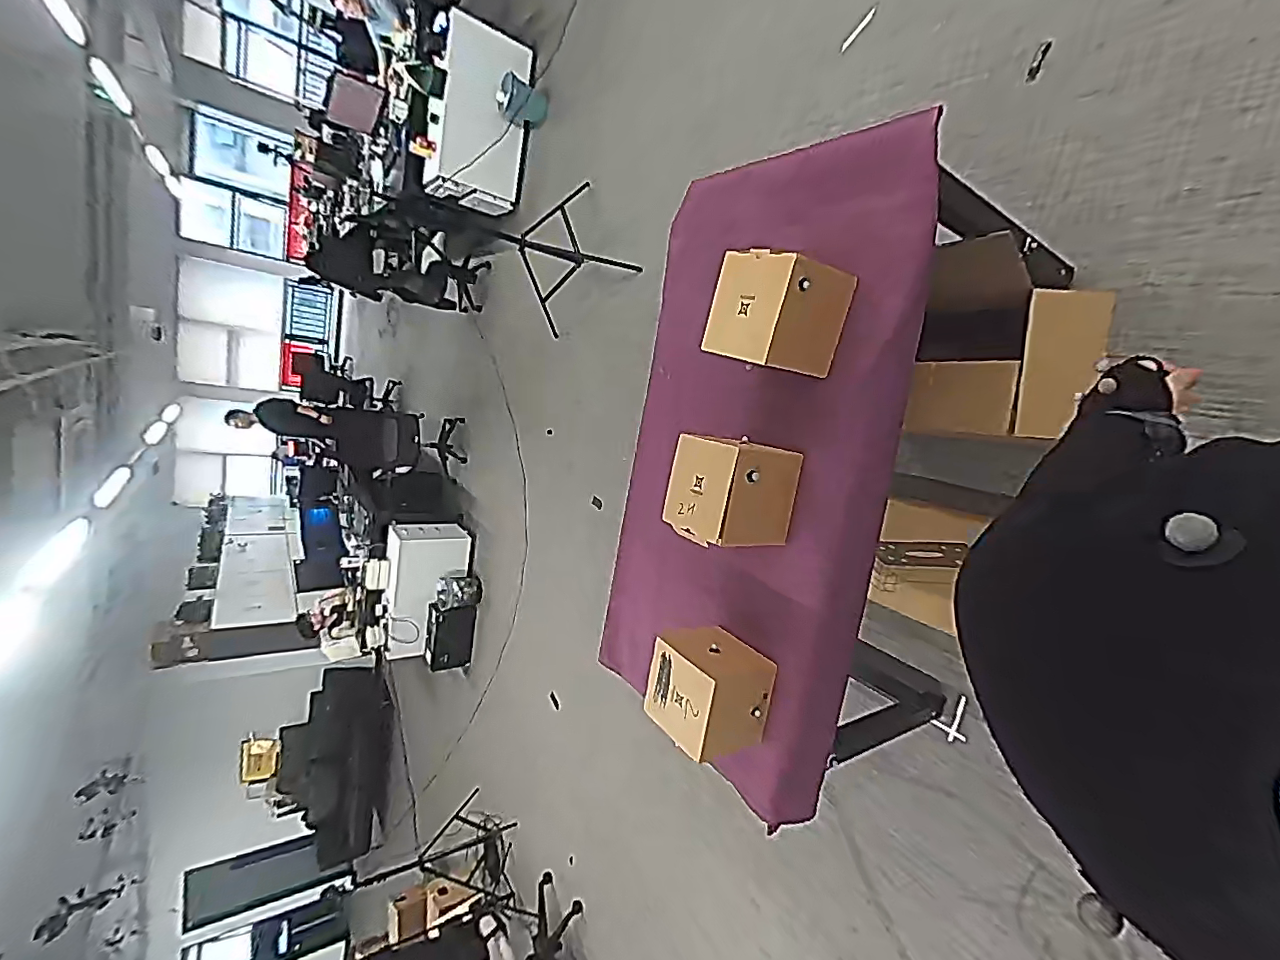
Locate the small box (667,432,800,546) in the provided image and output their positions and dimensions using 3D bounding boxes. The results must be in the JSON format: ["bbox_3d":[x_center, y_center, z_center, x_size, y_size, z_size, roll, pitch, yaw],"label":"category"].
[{"bbox_3d":[0.176,0.015,1.018,0.168,0.176,0.179,22,106,55],"label":"small box"}]

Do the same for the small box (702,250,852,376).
[{"bbox_3d":[0.240,-0.290,0.949,0.168,0.176,0.179,32,114,50],"label":"small box"}]
